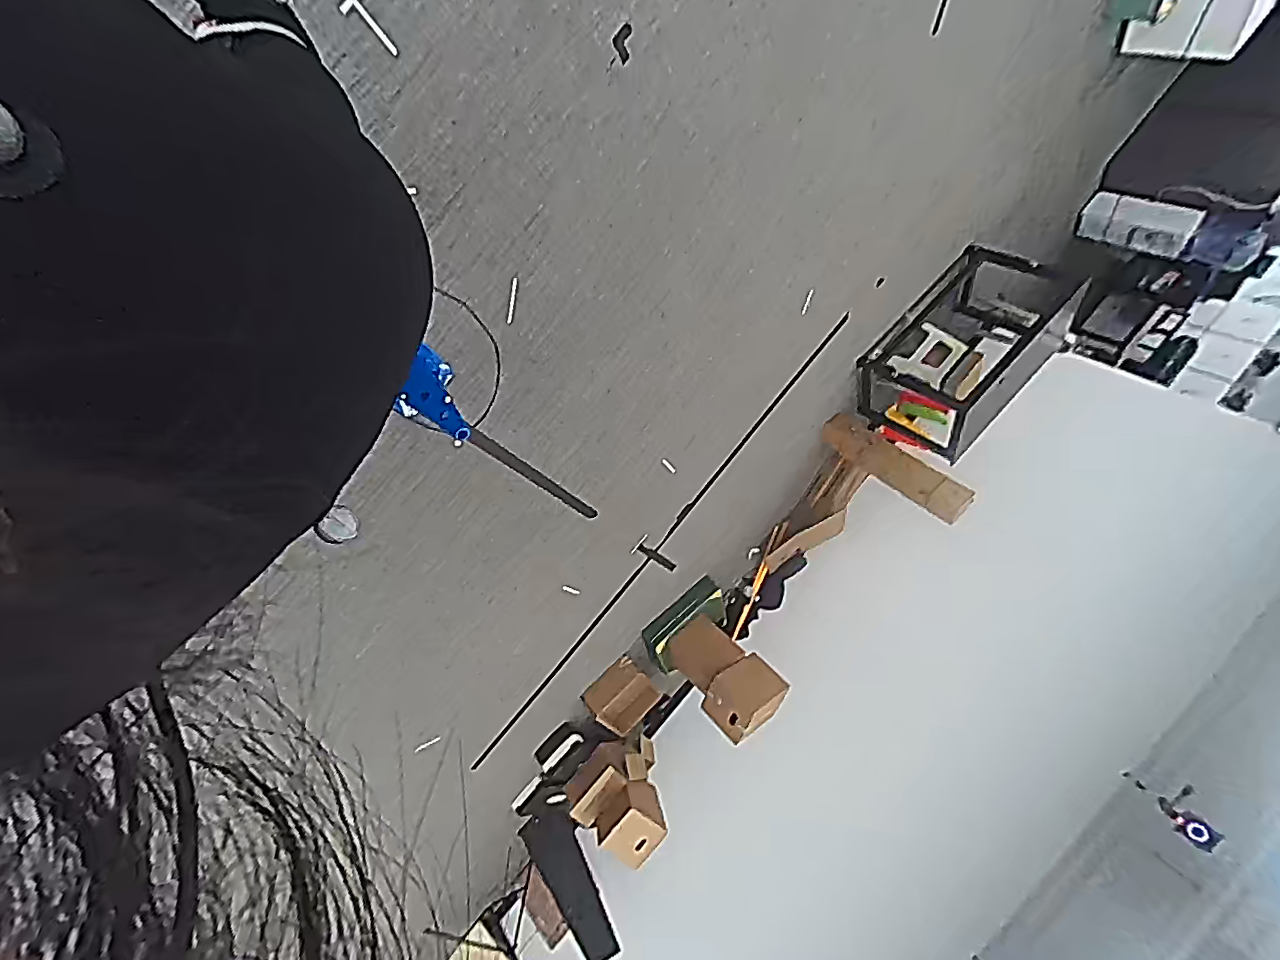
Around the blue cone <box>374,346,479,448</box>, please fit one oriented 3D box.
[{"bbox_3d":[-0.547,-0.195,1.471,0.193,0.380,0.192,-49,145,-4],"label":"blue cone"}]
